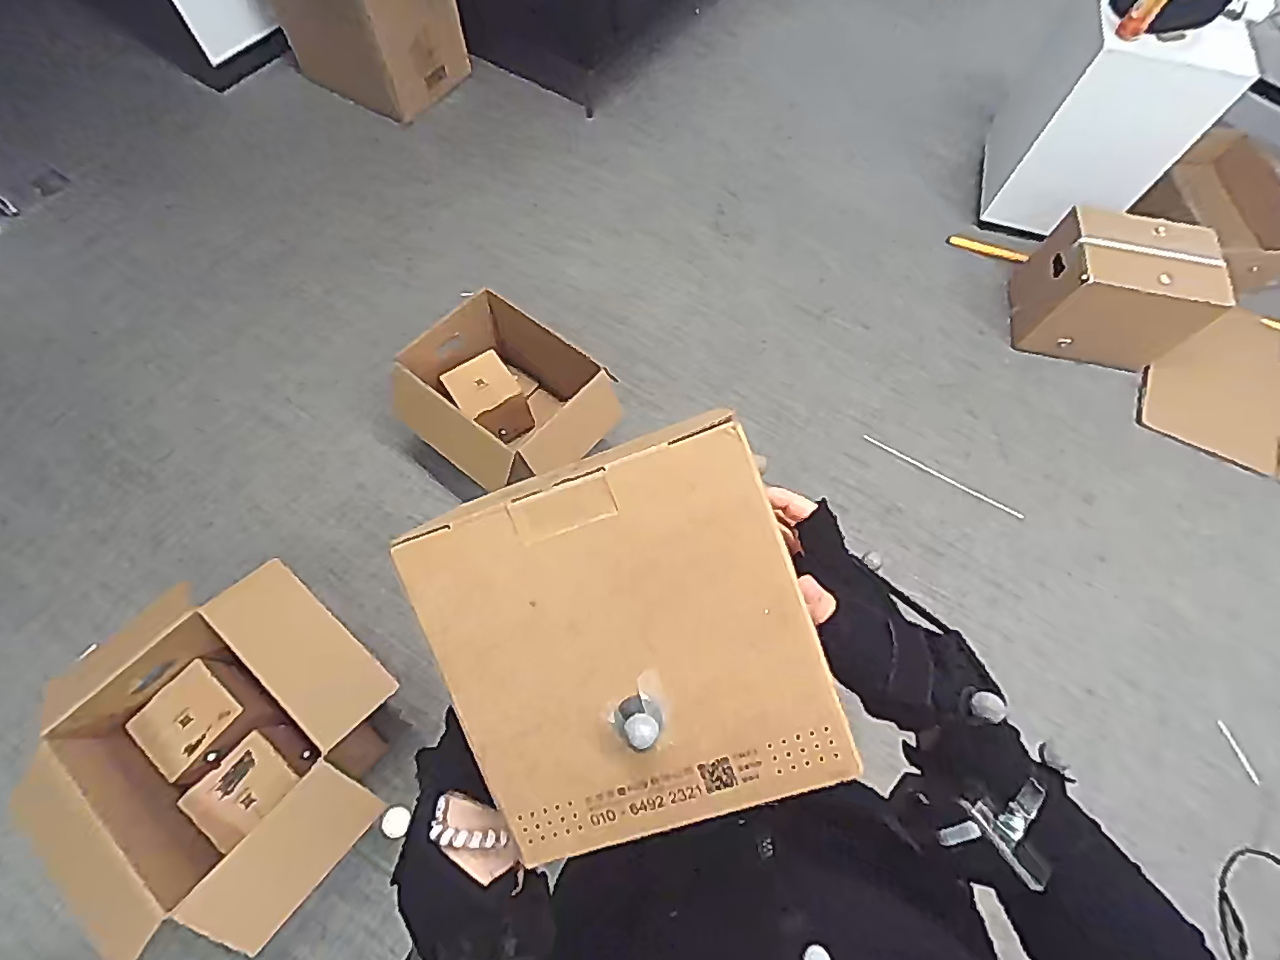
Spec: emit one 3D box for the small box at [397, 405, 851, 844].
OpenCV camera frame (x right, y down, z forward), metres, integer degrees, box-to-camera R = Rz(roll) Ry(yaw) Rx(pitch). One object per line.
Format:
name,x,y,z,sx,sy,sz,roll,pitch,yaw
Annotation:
small box,0.000,0.063,0.321,0.168,0.179,0.176,-20,97,7
